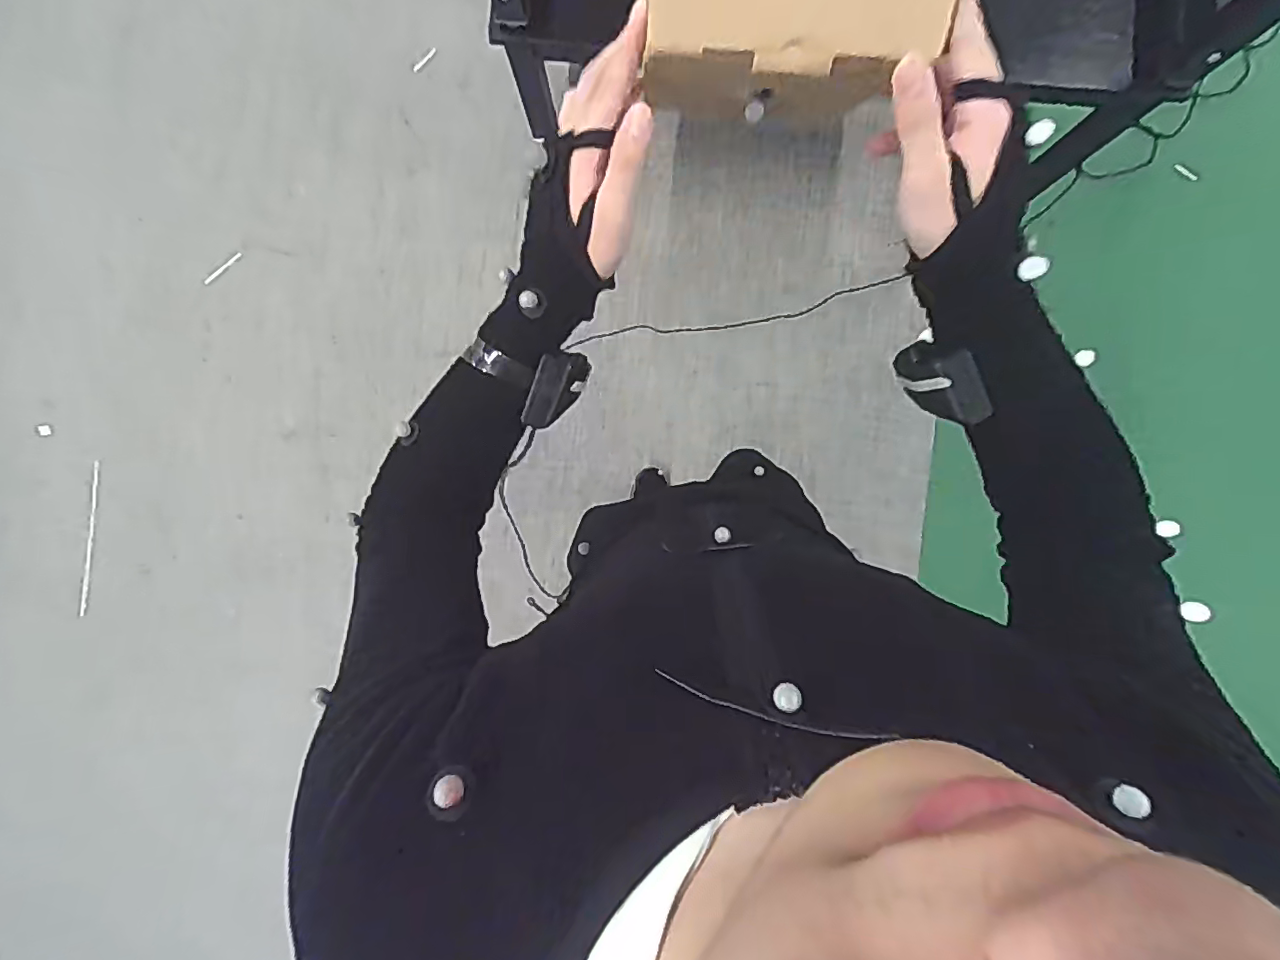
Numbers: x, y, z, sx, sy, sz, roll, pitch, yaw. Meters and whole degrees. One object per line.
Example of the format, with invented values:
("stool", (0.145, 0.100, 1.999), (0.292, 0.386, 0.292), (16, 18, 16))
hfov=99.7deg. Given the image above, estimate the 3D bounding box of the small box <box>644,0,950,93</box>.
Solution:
("small box", (0.088, -0.356, 0.330), (0.168, 0.176, 0.179), (1, 116, -2))
